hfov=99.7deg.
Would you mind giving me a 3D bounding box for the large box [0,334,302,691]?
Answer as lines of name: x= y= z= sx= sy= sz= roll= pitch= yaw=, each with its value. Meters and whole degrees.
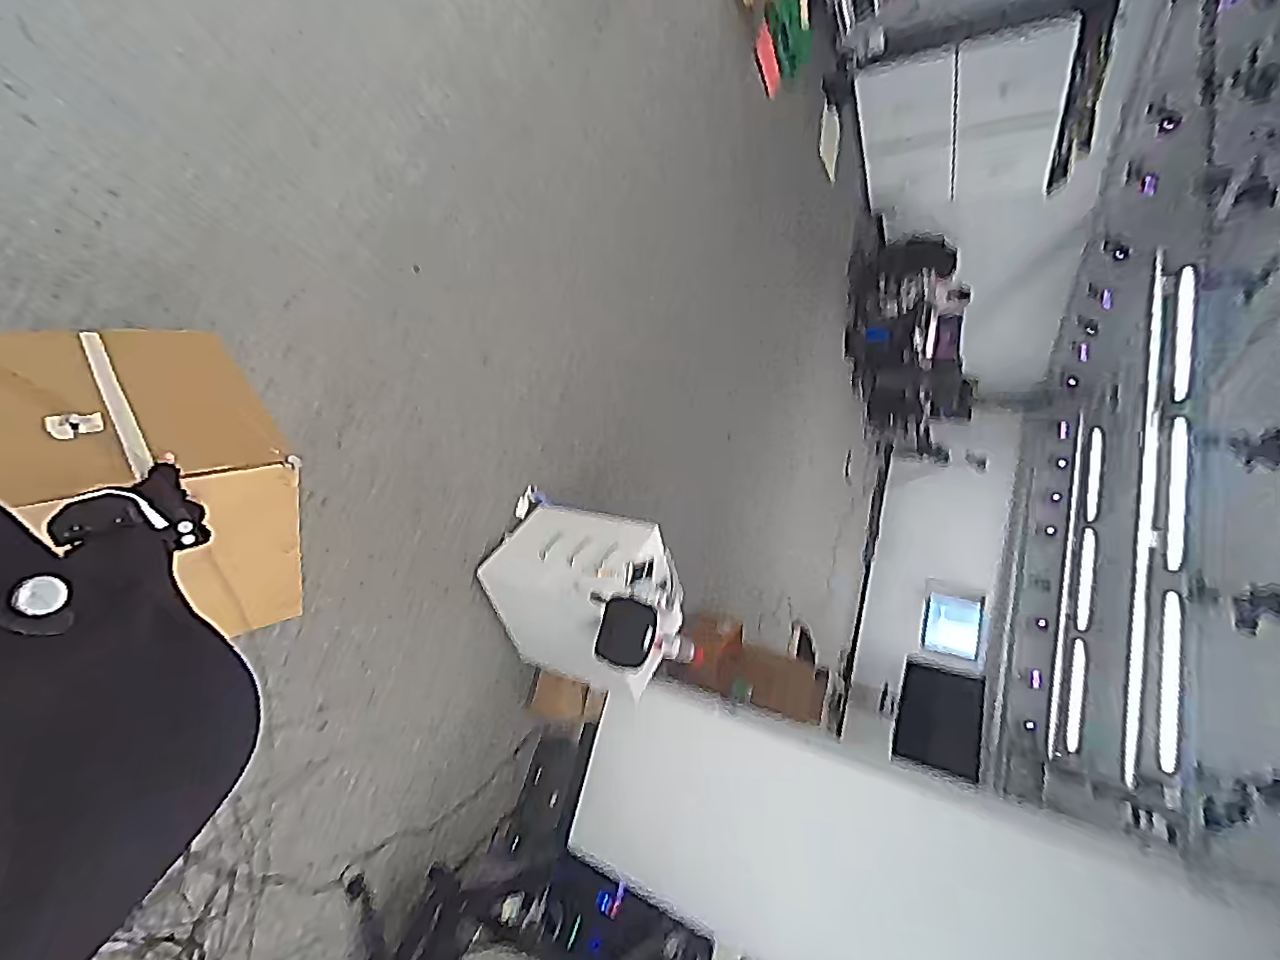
large box: x=-0.753 y=0.014 z=0.810 sx=0.320 sy=0.408 sz=0.320 roll=-19 pitch=140 yaw=-43
